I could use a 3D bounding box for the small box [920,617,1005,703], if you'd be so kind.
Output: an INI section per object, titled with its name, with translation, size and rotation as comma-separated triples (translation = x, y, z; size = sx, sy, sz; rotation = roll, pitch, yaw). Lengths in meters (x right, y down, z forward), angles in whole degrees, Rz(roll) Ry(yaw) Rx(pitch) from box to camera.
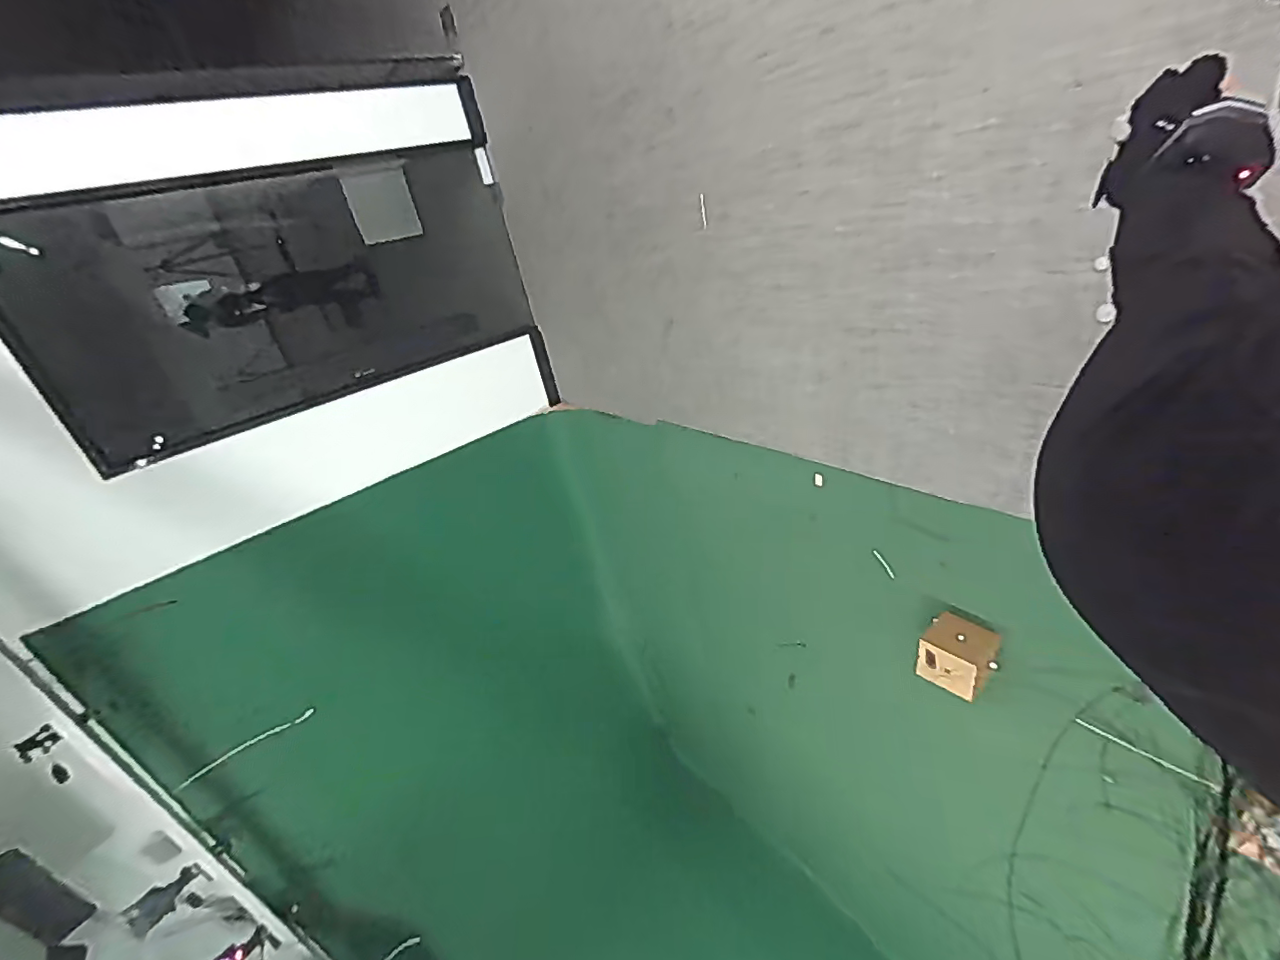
[small box]
translation = 1.045, 0.574, 1.758
size = 0.179, 0.176, 0.168
rotation = 23, 134, 46
